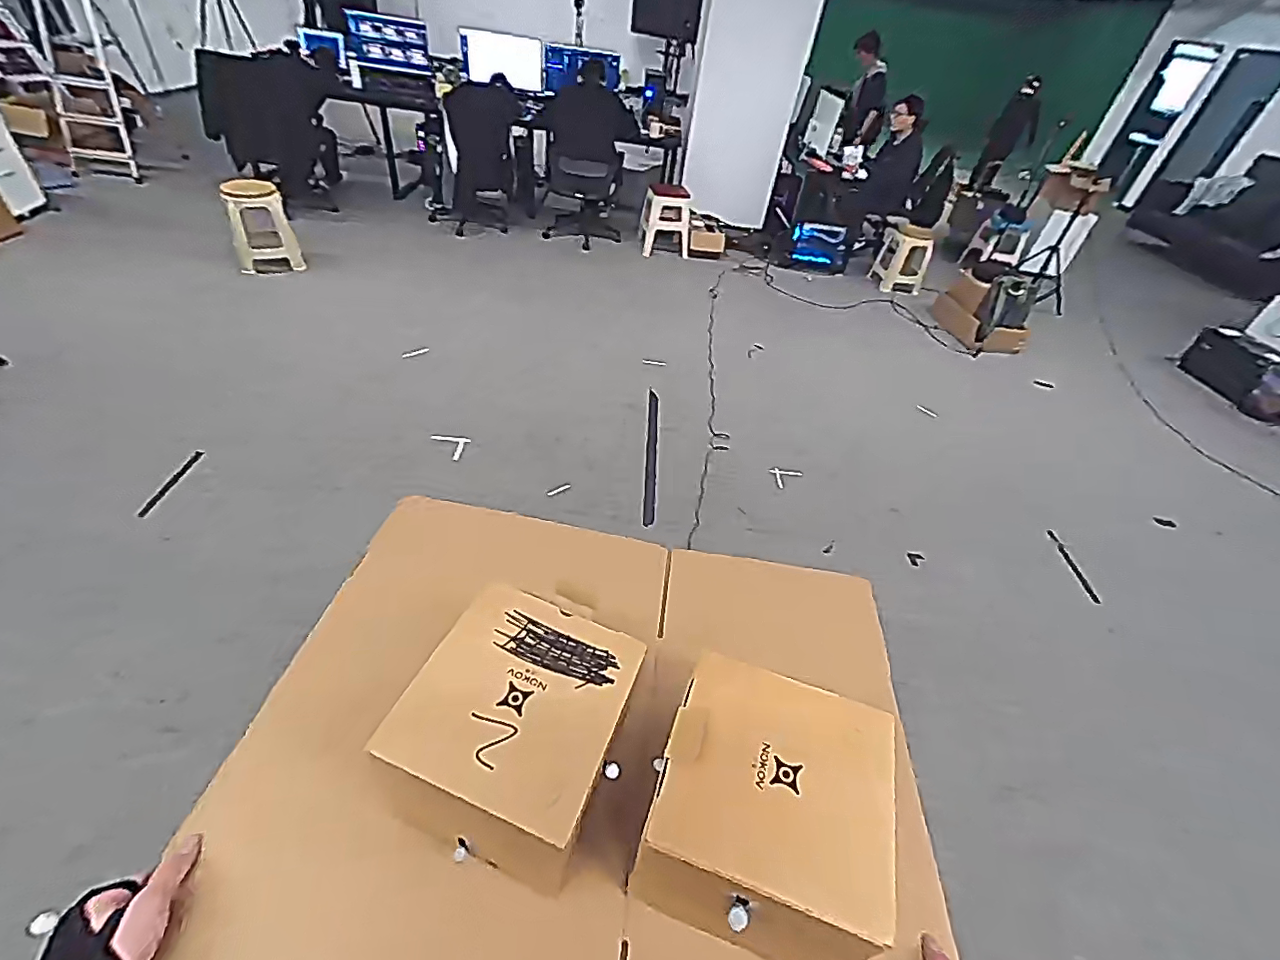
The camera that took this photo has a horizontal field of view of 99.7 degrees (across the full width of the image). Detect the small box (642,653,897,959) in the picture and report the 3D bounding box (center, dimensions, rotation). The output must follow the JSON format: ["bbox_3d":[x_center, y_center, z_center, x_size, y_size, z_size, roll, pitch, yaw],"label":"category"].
[{"bbox_3d":[0.111,0.294,0.489,0.179,0.176,0.168,16,43,13],"label":"small box"}]
